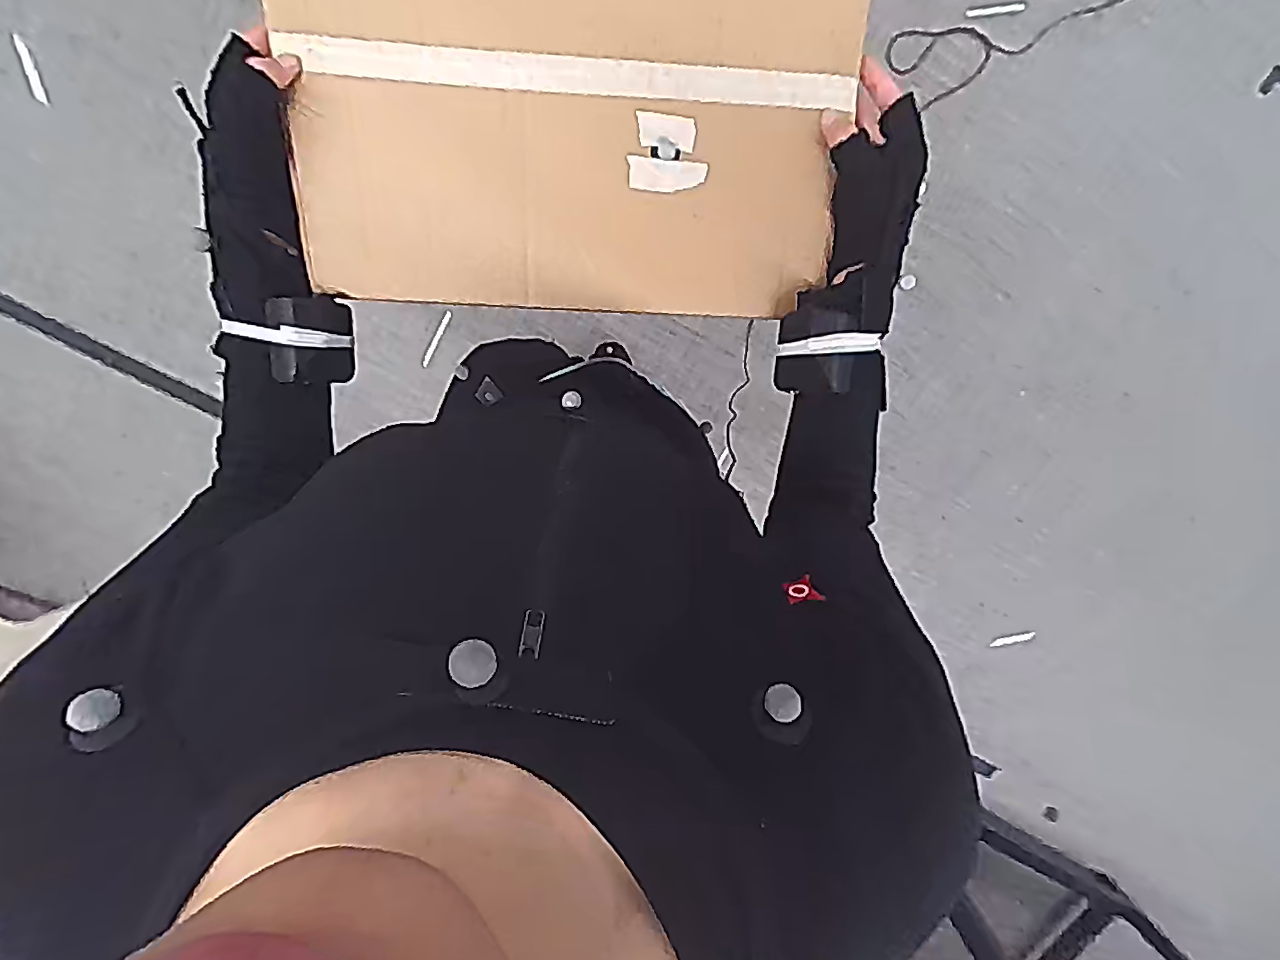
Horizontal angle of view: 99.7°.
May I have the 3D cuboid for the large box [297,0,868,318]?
[{"bbox_3d":[-0.049,-0.338,0.533,0.408,0.320,0.320,2,112,-5],"label":"large box"}]
